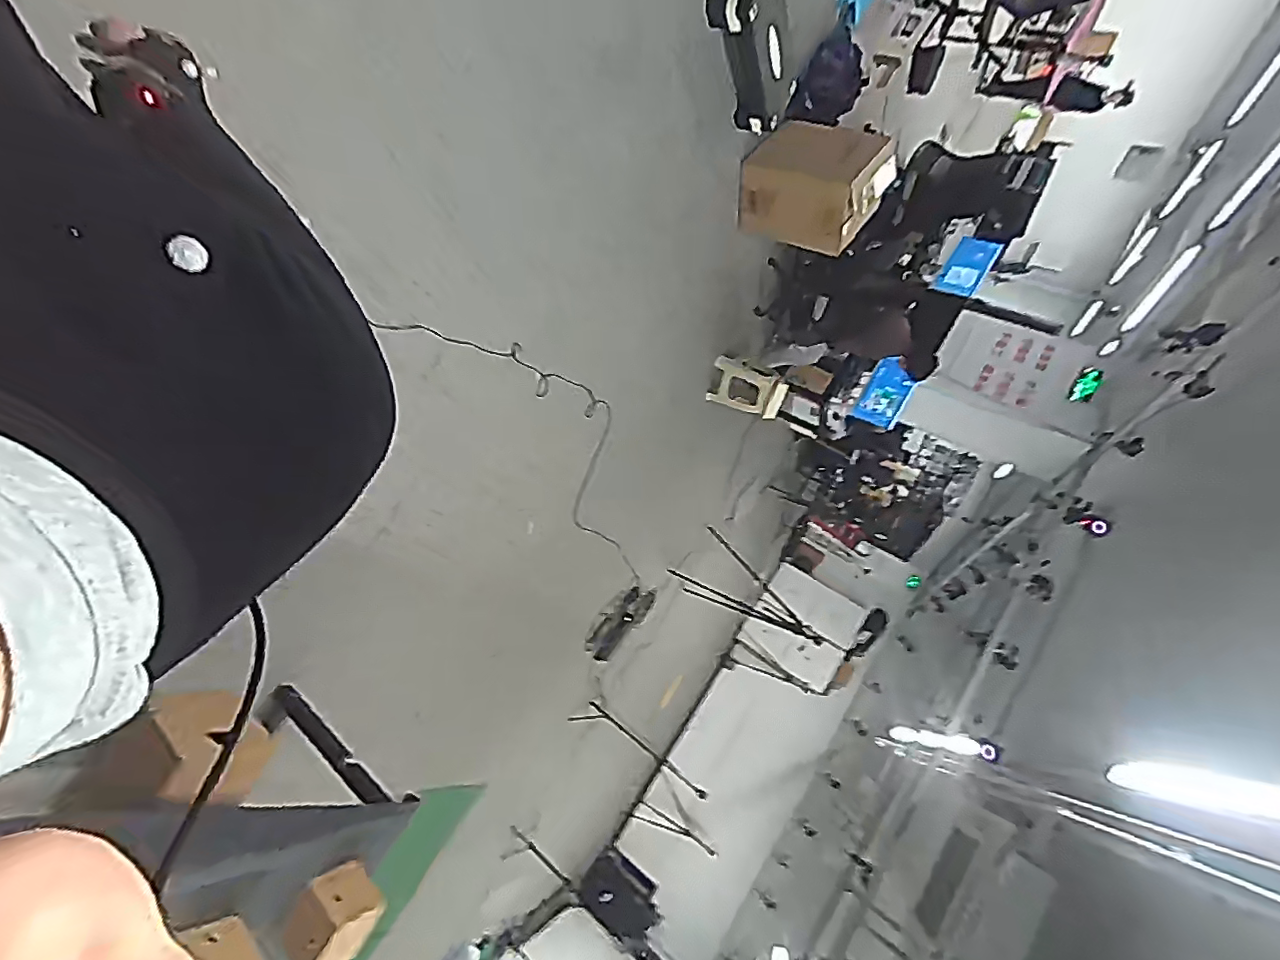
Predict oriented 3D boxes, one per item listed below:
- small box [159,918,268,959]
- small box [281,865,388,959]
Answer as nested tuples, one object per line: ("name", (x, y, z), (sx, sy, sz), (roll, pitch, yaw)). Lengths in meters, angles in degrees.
("small box", (-0.976, 1.125, 1.190), (0.168, 0.176, 0.179), (-55, 154, -13))
("small box", (-0.865, 1.236, 1.525), (0.179, 0.176, 0.168), (-57, 154, -2))
